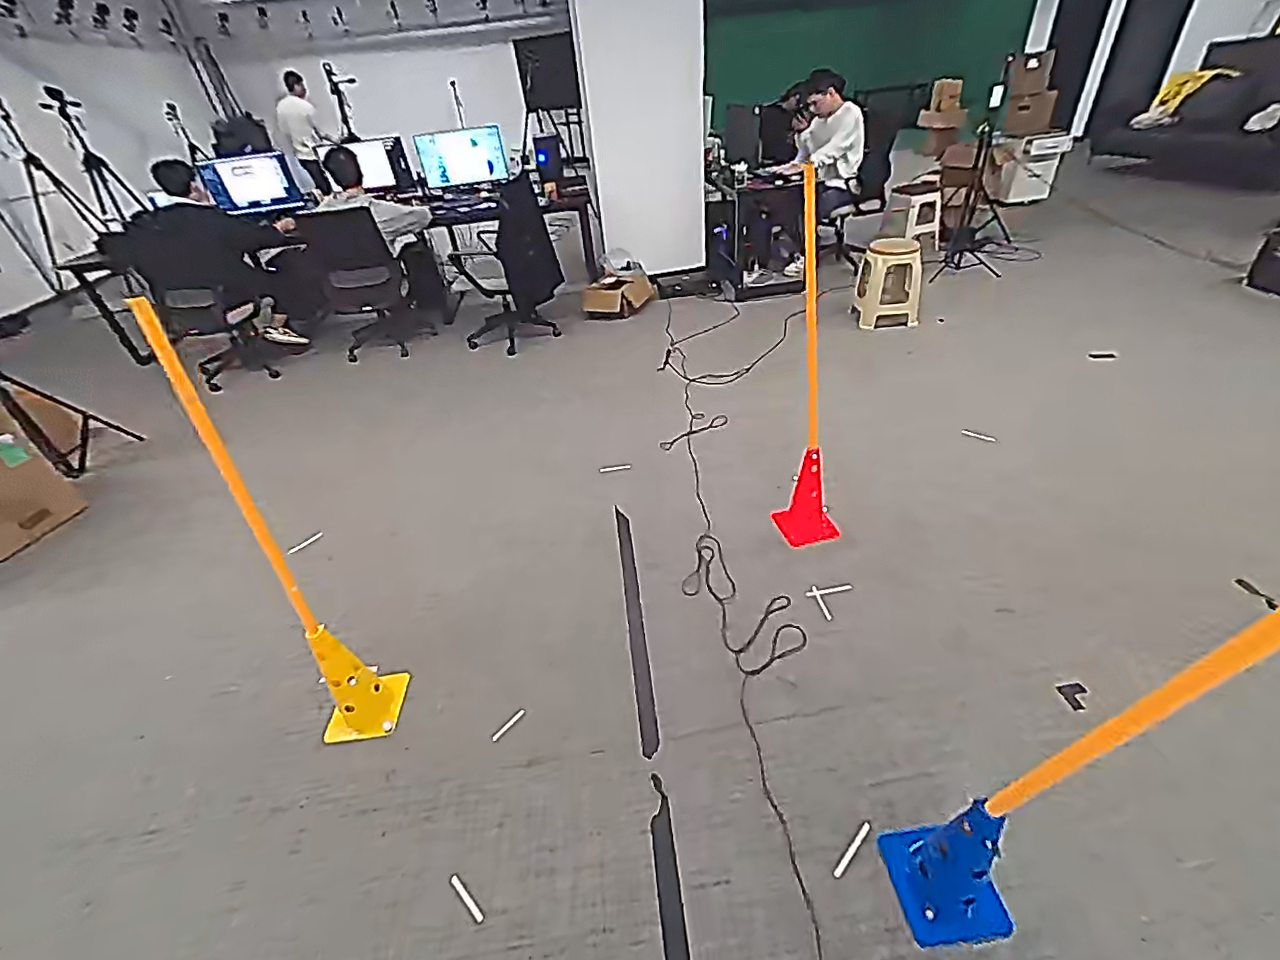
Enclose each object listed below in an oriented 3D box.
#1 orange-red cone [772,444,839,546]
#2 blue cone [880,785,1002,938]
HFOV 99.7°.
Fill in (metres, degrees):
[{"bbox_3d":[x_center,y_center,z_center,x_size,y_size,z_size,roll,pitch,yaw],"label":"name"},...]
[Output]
[{"bbox_3d":[0.595,0.031,1.921,0.199,0.360,0.198,-13,36,-5],"label":"orange-red cone"},{"bbox_3d":[0.611,0.702,1.036,0.193,0.380,0.192,-7,36,0],"label":"blue cone"}]
